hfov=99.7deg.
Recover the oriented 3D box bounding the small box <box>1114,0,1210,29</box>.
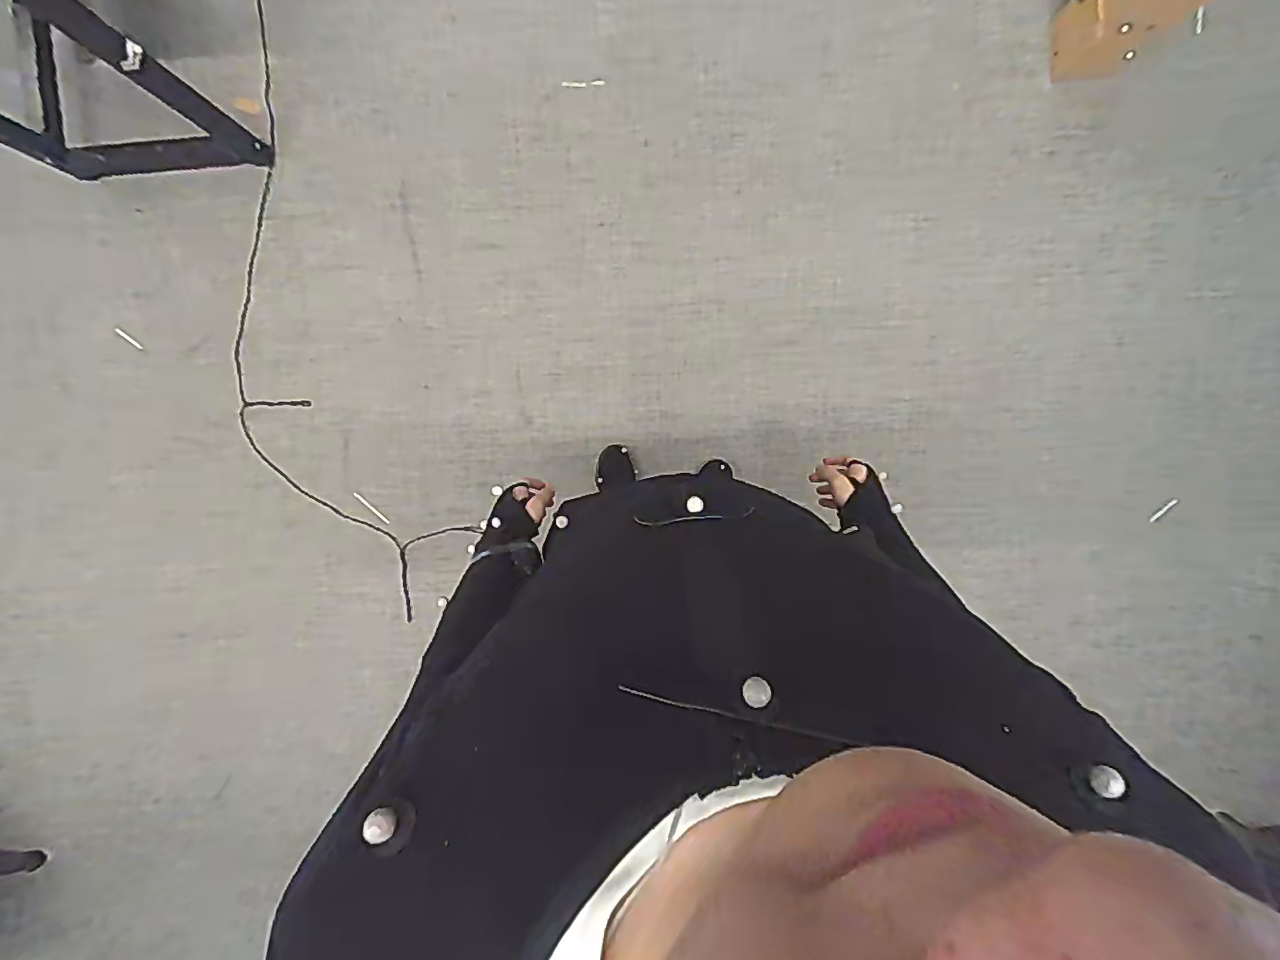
[{"bbox_3d":[1.272,-1.213,1.277,0.168,0.176,0.179,1,93,0],"label":"small box"}]
